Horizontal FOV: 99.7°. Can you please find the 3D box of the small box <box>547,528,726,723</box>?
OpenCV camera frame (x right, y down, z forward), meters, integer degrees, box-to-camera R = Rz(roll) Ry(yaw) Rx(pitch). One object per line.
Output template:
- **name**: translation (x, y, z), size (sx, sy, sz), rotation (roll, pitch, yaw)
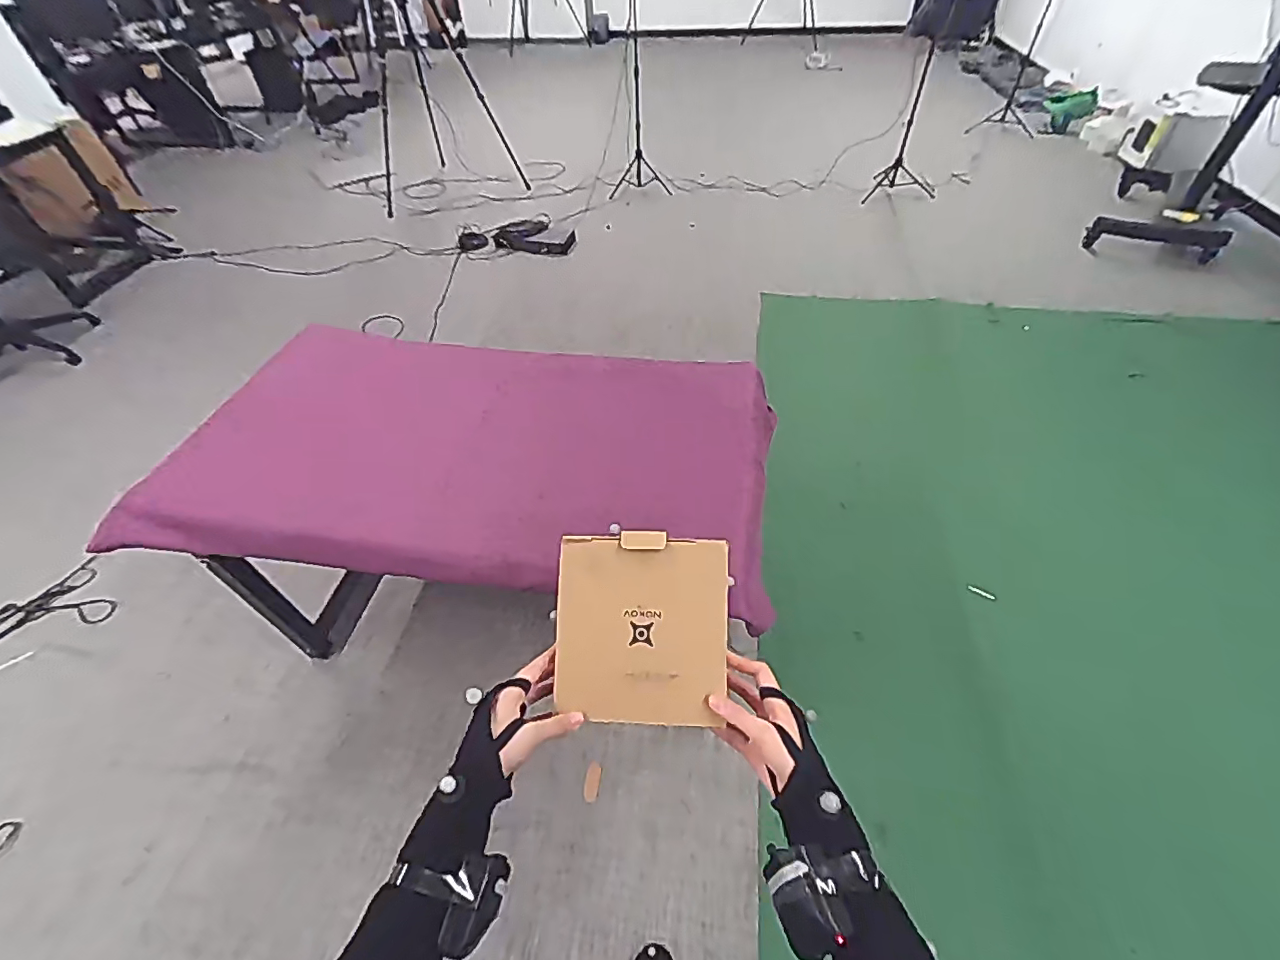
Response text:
- **small box**: translation (0.001, 0.146, 0.592), size (0.168, 0.176, 0.179), rotation (2, 84, 3)
